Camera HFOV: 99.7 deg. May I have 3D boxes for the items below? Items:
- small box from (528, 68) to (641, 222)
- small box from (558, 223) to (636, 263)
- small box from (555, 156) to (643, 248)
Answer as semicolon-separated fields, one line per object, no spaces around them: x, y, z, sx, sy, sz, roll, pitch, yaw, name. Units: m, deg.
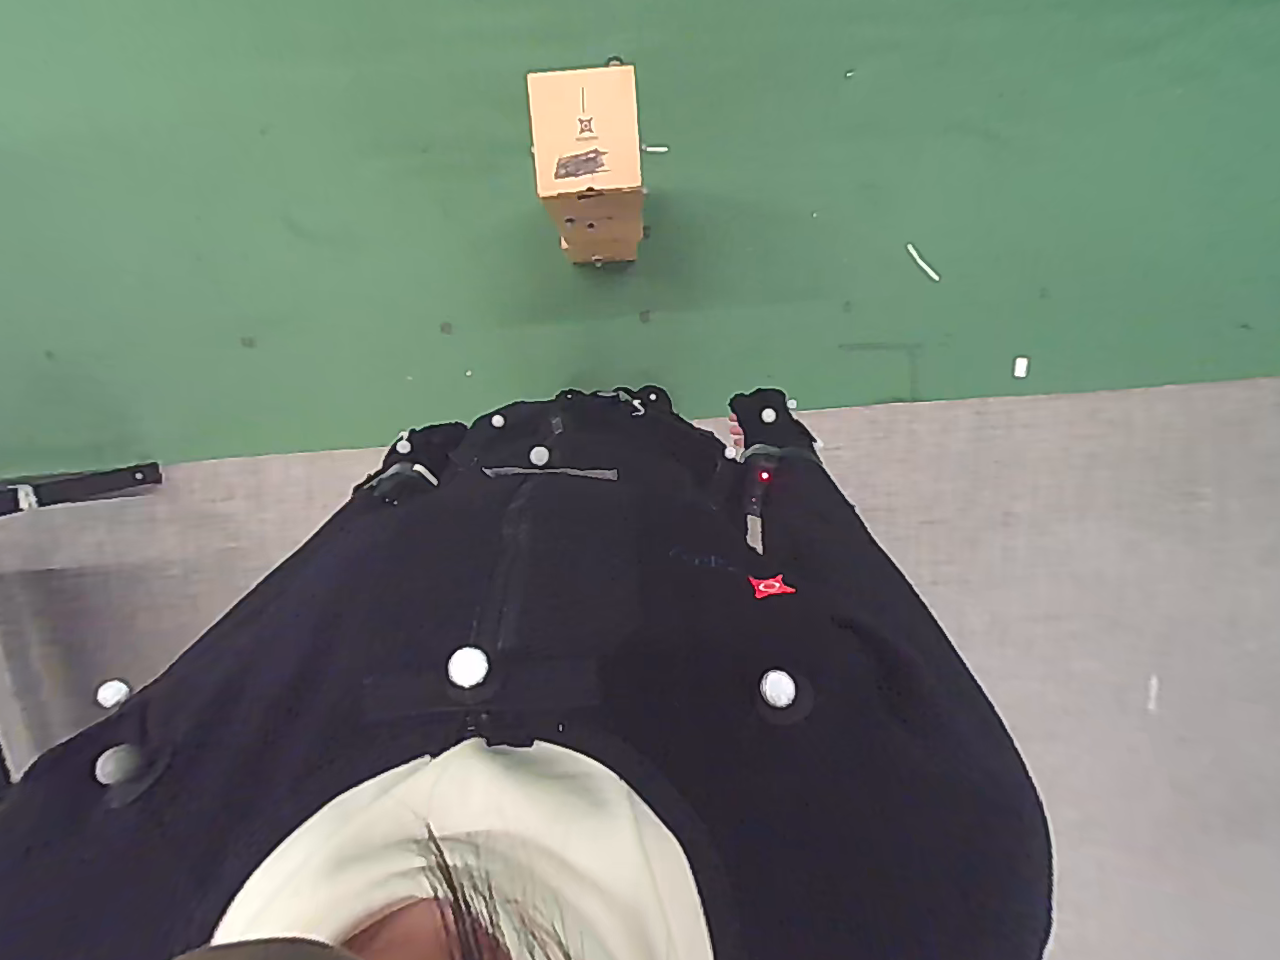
-0.084;-0.548;0.912;0.168;0.176;0.179;-4;100;0;small box
-0.093;-0.599;1.217;0.168;0.176;0.179;-1;101;1;small box
-0.082;-0.579;1.073;0.168;0.176;0.179;-4;100;1;small box
